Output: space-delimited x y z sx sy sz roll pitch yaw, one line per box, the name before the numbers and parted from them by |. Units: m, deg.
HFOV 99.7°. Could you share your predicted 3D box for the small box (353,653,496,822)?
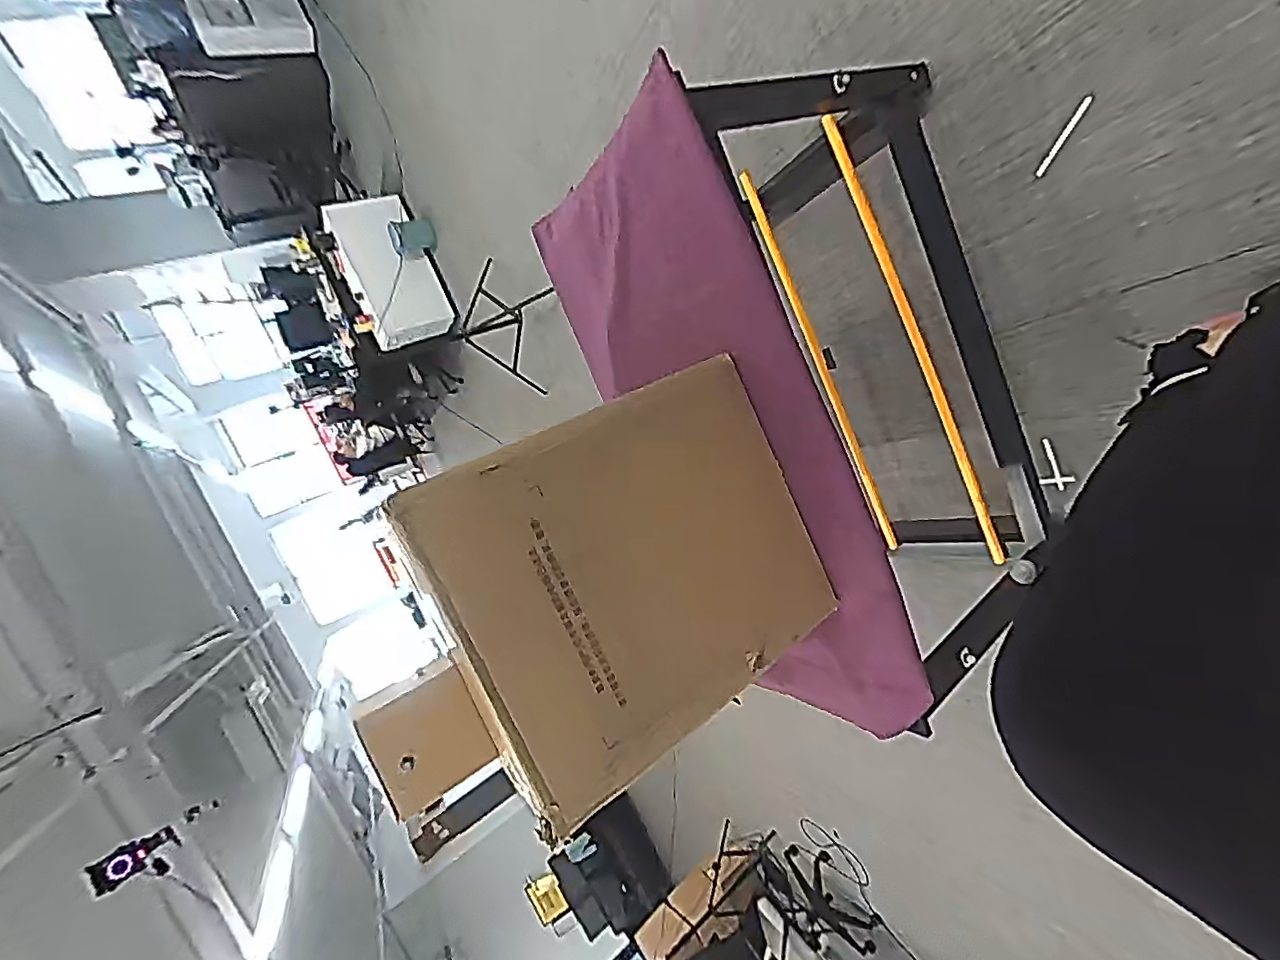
small box | -0.367 0.428 0.930 0.168 0.176 0.179 -20 95 62
